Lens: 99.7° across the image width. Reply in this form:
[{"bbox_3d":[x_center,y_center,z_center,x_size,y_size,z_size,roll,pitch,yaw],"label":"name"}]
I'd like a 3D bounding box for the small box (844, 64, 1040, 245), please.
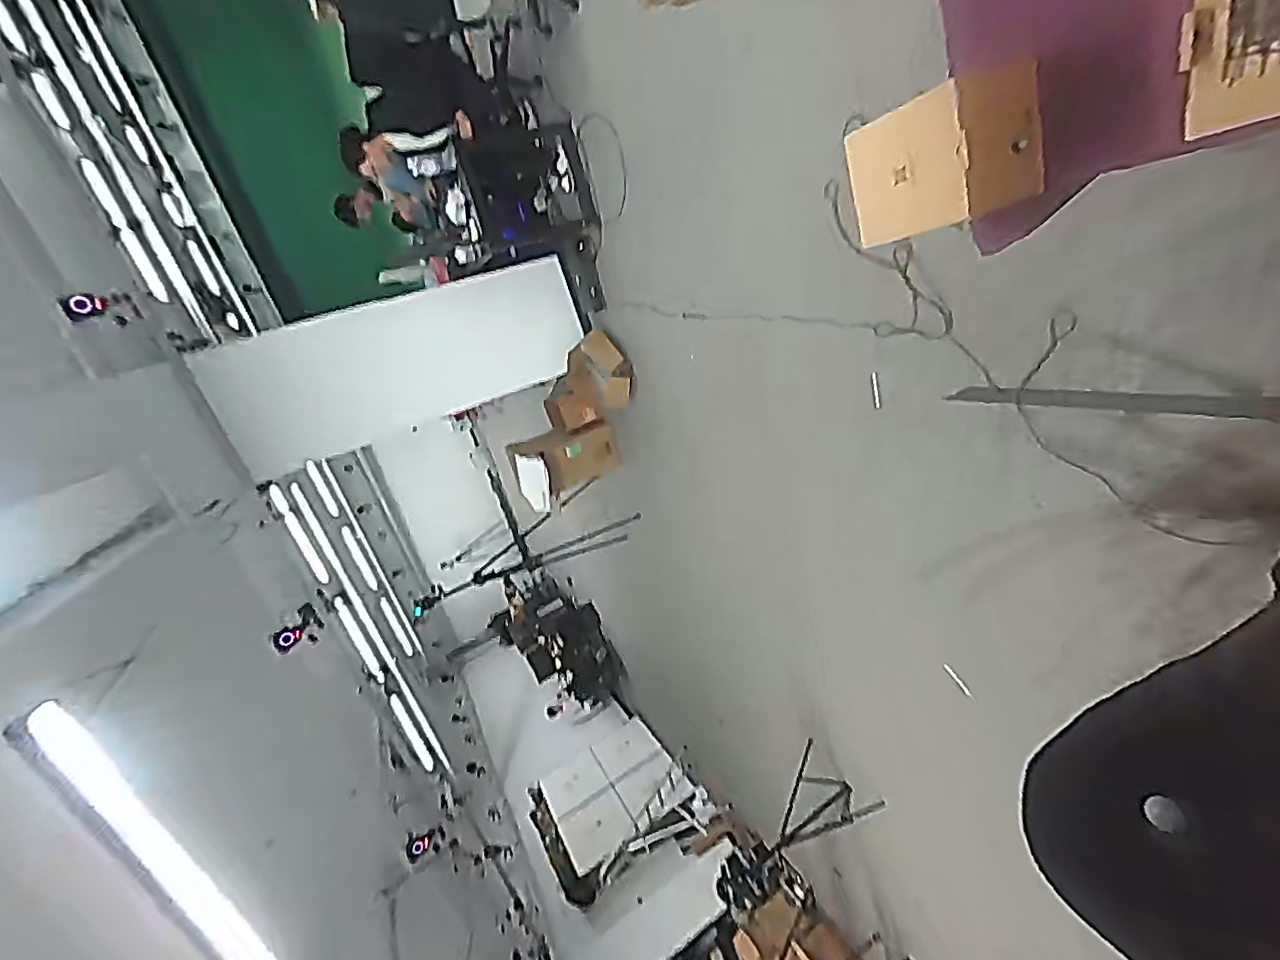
[{"bbox_3d":[0.432,-0.460,0.780,0.179,0.176,0.168,16,128,62],"label":"small box"}]
